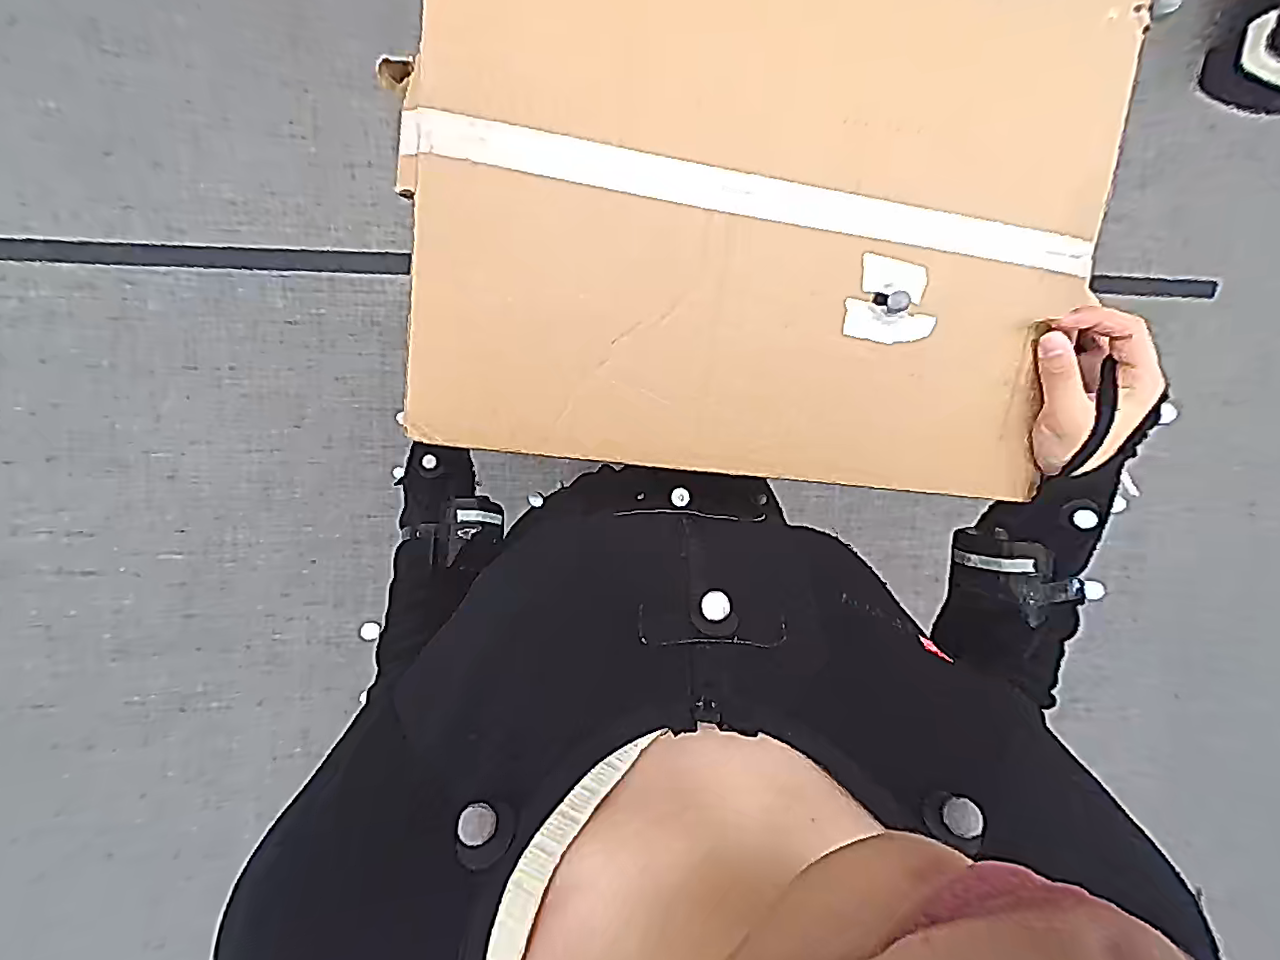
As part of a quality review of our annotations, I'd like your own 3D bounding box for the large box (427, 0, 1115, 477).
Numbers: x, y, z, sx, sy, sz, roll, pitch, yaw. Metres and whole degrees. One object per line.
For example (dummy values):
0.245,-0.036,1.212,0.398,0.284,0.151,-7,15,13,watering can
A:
0.058,-0.189,0.460,0.408,0.320,0.320,5,99,-12,large box
